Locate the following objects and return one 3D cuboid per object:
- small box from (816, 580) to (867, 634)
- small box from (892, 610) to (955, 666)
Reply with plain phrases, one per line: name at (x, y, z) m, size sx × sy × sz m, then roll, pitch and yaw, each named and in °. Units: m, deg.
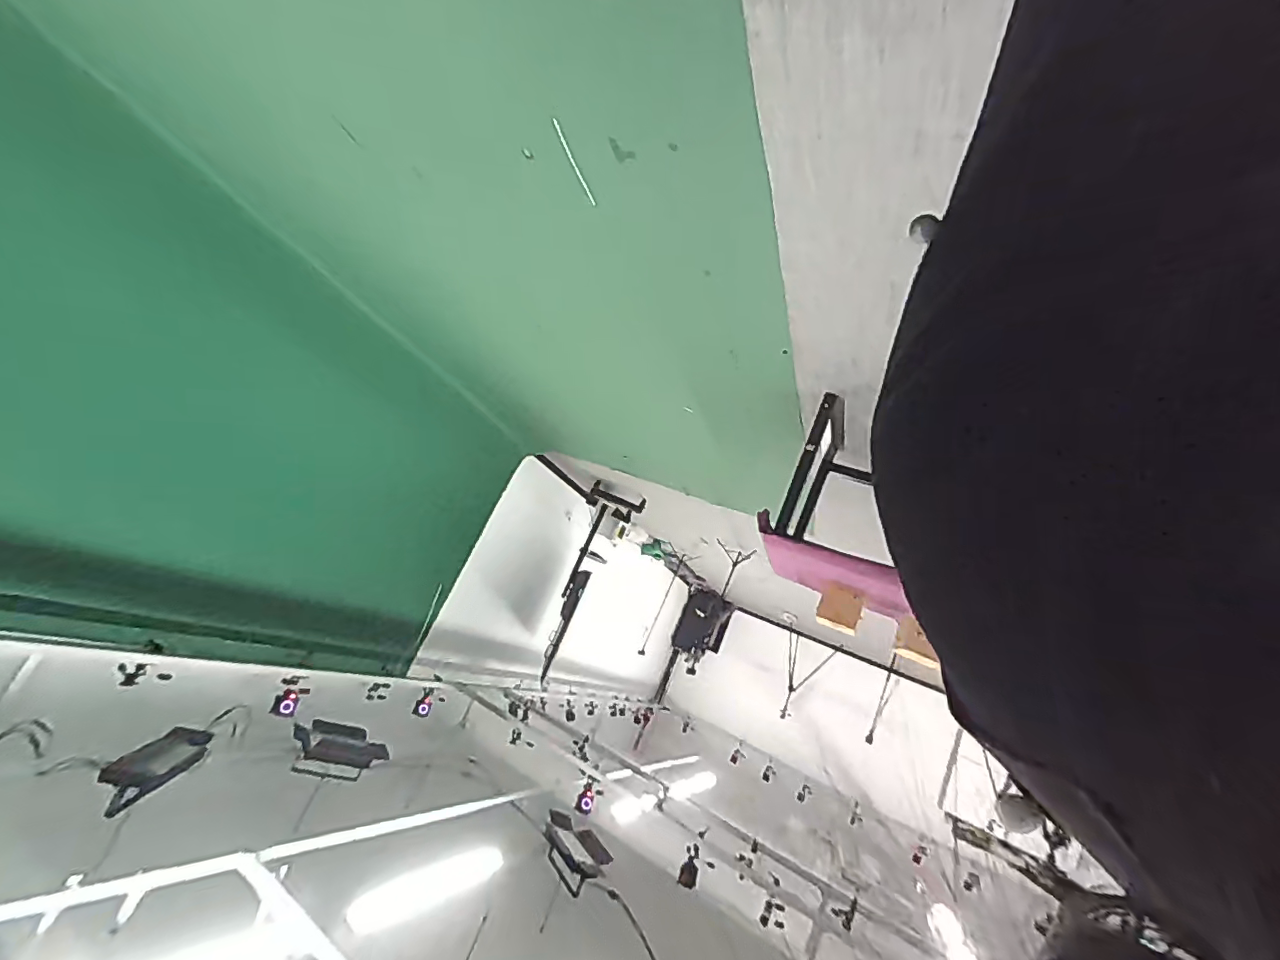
small box at (0.871, 0.545, 2.332) m, size 0.168 × 0.176 × 0.179 m, roll 18°, pitch 165°, yaw 27°
small box at (1.152, 0.638, 2.195) m, size 0.168 × 0.176 × 0.179 m, roll 22°, pitch 166°, yaw 16°
